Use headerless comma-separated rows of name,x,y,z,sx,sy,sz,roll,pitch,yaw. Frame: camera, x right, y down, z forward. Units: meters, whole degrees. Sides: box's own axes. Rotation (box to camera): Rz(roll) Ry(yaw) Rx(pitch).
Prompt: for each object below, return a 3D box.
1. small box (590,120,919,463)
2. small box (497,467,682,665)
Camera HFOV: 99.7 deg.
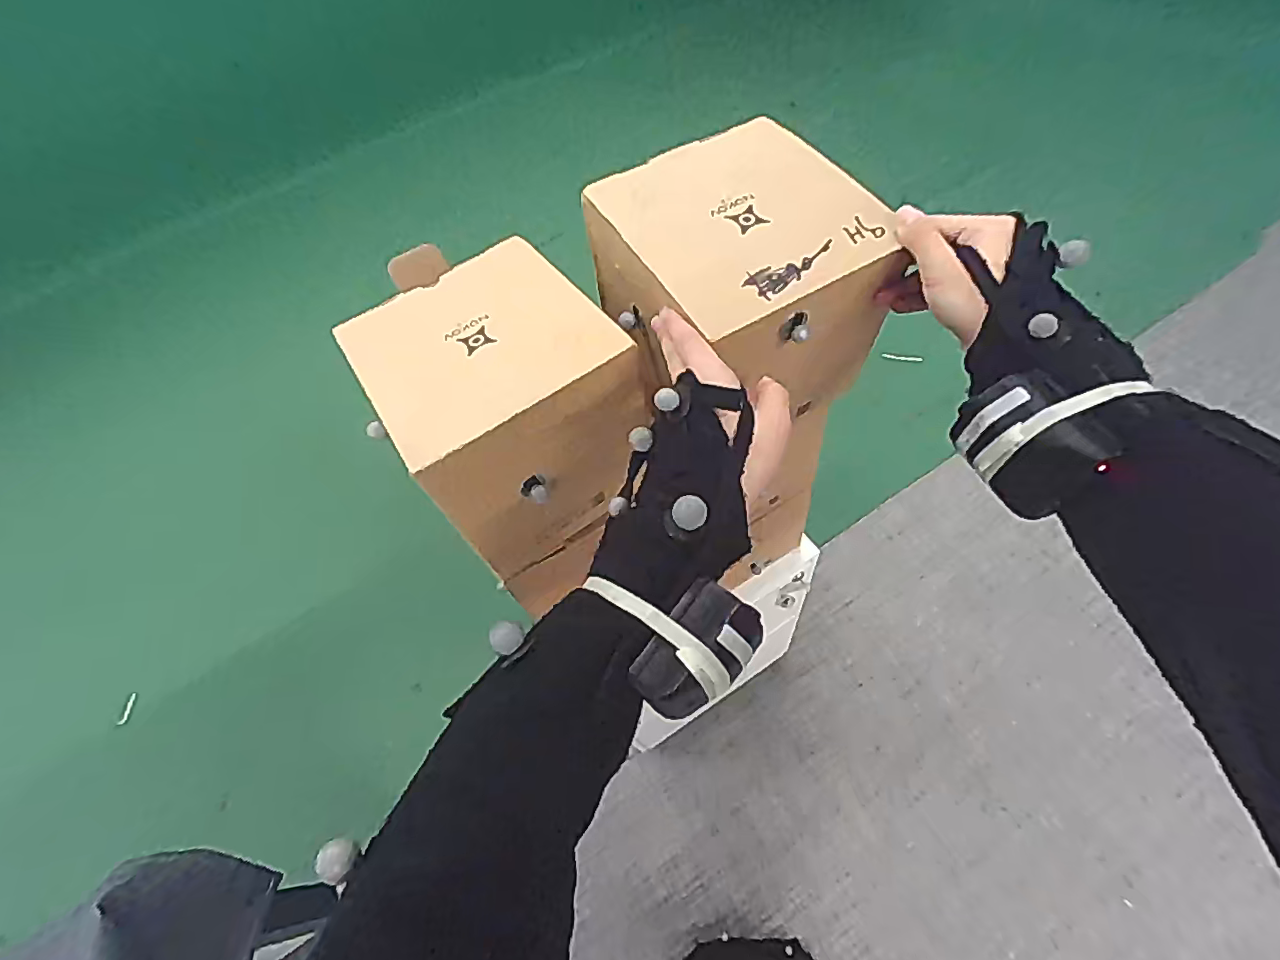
small box,0.075,-0.147,0.443,0.168,0.176,0.179,-27,63,-11
small box,-0.058,0.122,0.712,0.168,0.176,0.179,-30,58,-11
